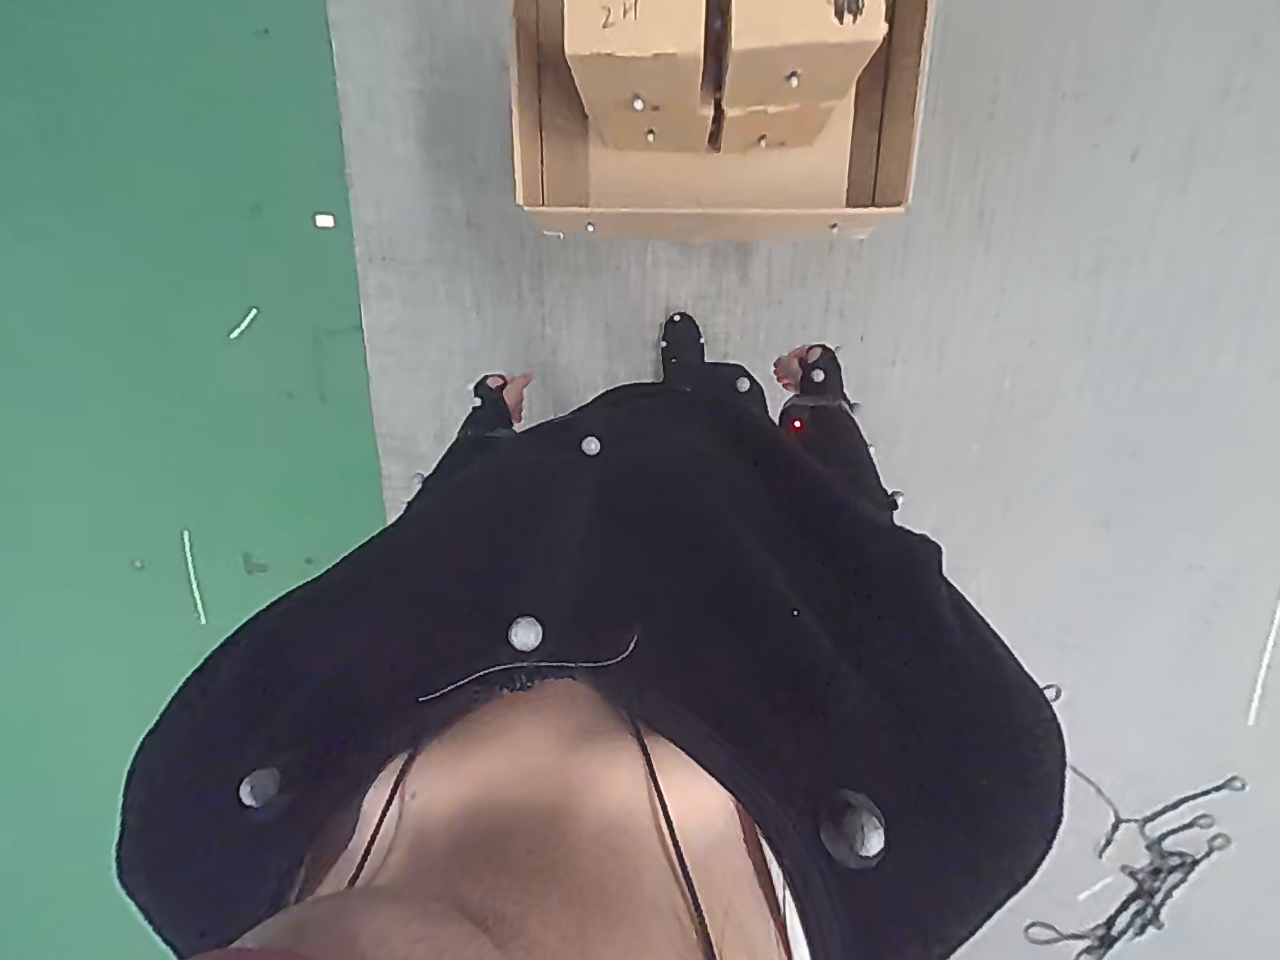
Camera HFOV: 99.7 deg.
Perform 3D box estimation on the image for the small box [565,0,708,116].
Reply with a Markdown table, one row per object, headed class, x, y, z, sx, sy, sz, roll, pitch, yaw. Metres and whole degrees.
| class | x | y | z | sx | sy | sz | roll | pitch | yaw |
| --- | --- | --- | --- | --- | --- | --- | --- | --- | --- |
| small box | 0.001 | -0.602 | 0.690 | 0.168 | 0.176 | 0.179 | 3 | 104 | 3 |
